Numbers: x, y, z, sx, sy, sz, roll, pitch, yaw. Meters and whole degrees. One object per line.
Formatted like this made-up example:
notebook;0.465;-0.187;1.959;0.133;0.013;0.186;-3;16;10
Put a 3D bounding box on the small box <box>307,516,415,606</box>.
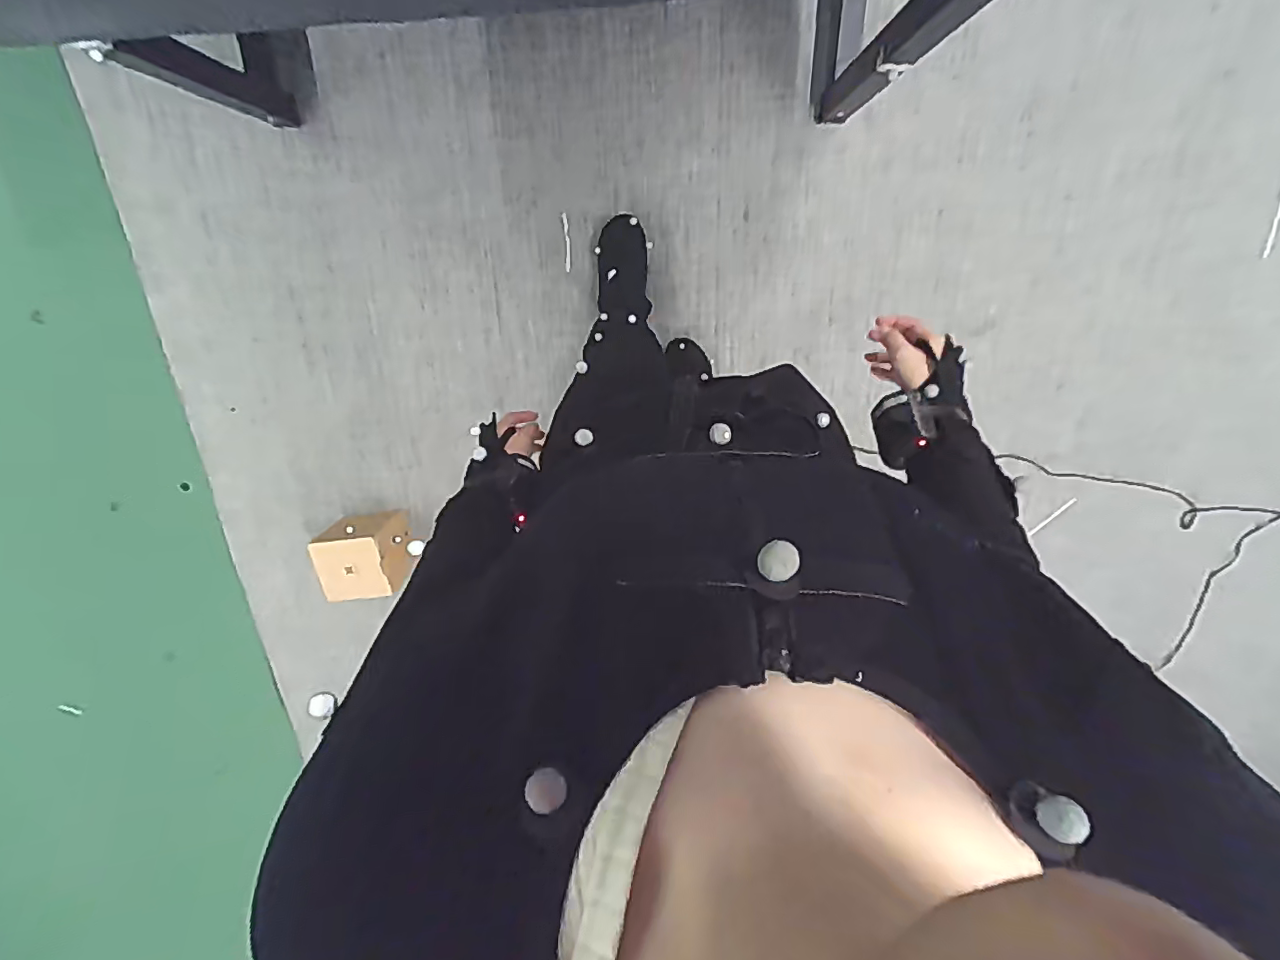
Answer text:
small box;-0.704;0.202;1.393;0.179;0.176;0.168;-7;109;5
